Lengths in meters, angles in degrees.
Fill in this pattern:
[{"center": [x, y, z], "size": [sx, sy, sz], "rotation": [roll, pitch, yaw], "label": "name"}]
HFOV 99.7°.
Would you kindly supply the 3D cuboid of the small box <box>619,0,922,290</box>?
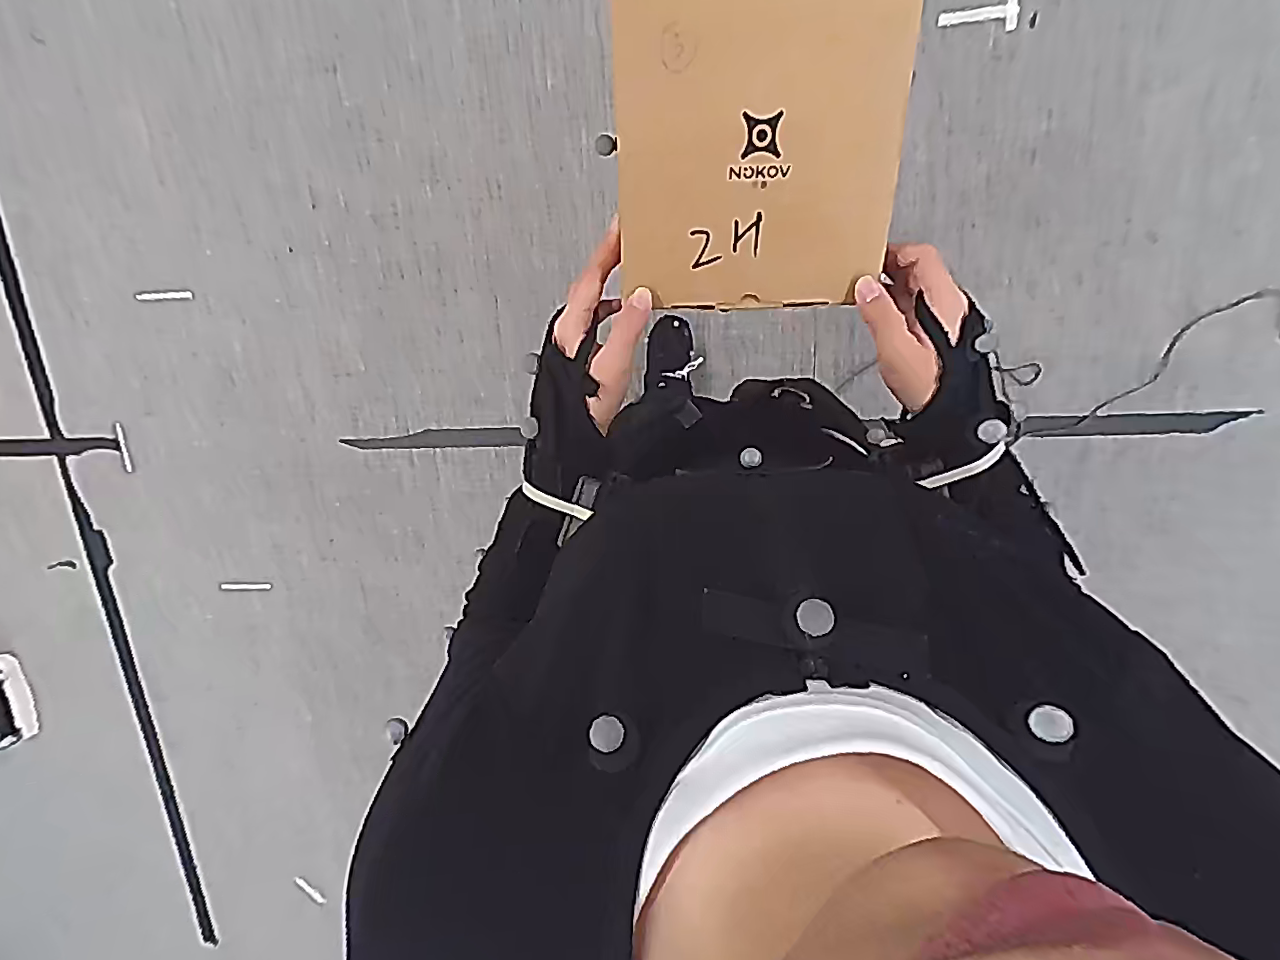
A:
[{"center": [0.069, -0.233, 0.385], "size": [0.168, 0.176, 0.179], "rotation": [0, 114, 1], "label": "small box"}]
